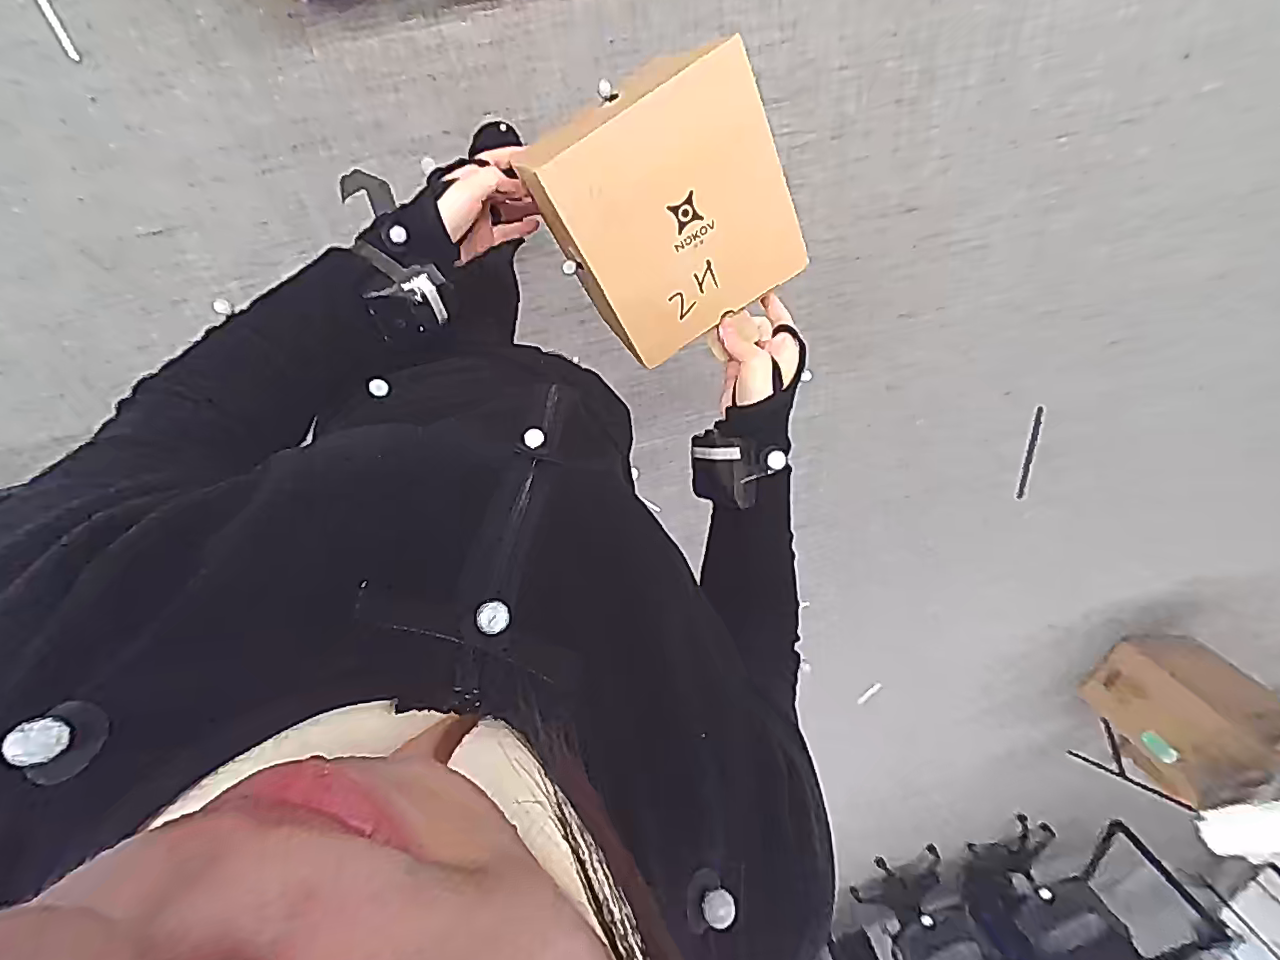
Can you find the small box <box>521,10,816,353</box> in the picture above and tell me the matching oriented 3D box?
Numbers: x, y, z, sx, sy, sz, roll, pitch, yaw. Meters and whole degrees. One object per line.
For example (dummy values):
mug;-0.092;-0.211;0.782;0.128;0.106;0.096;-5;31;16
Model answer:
small box;0.016;-0.245;0.465;0.168;0.176;0.179;-33;127;2
